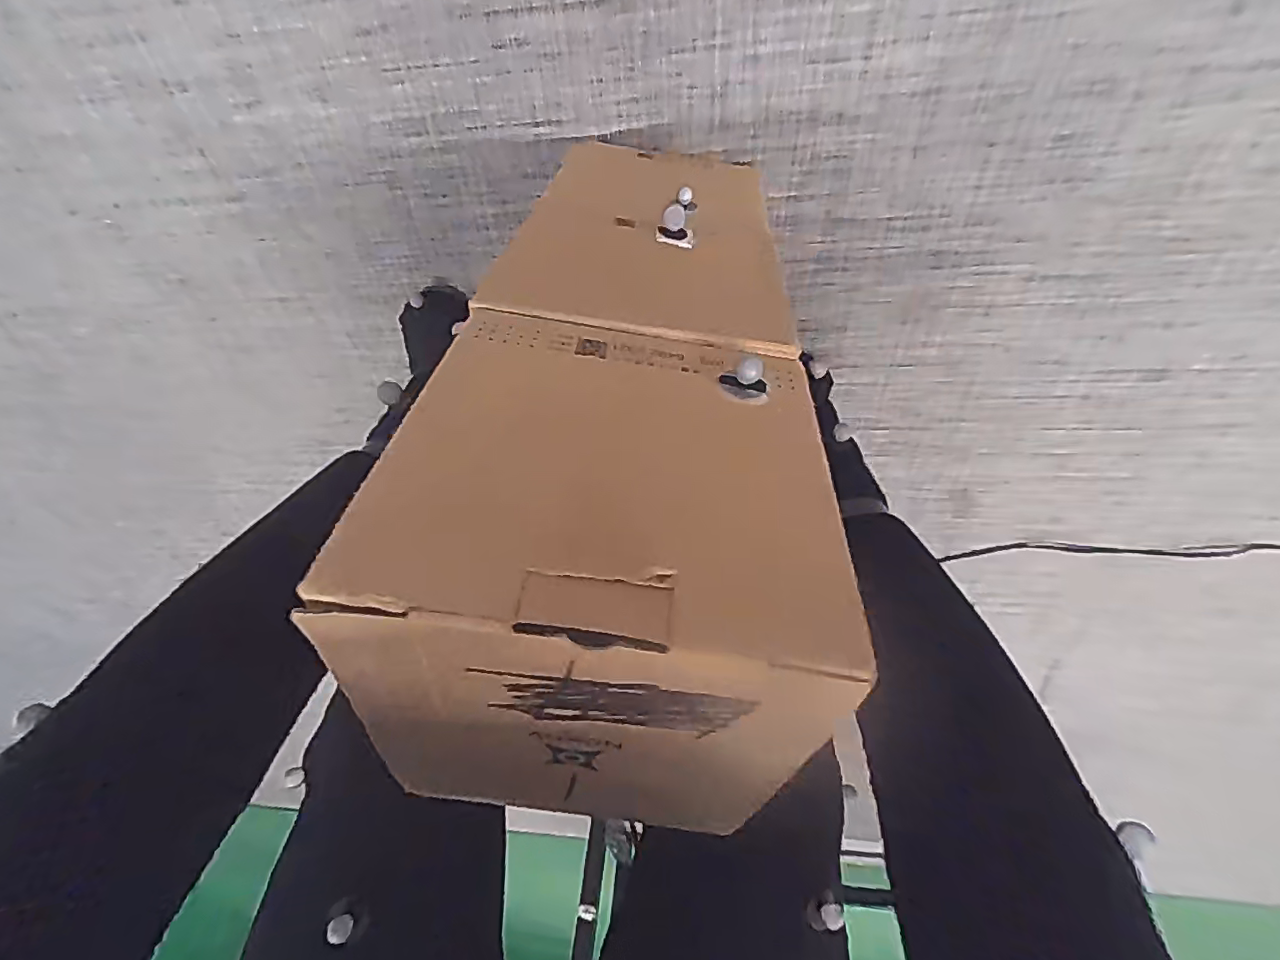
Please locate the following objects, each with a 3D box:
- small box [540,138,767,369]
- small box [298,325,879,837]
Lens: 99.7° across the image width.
[{"bbox_3d":[0.009,-0.181,0.493,0.168,0.176,0.179,9,135,-1],"label":"small box"},{"bbox_3d":[-0.017,0.048,0.262,0.168,0.176,0.179,9,136,-2],"label":"small box"}]
